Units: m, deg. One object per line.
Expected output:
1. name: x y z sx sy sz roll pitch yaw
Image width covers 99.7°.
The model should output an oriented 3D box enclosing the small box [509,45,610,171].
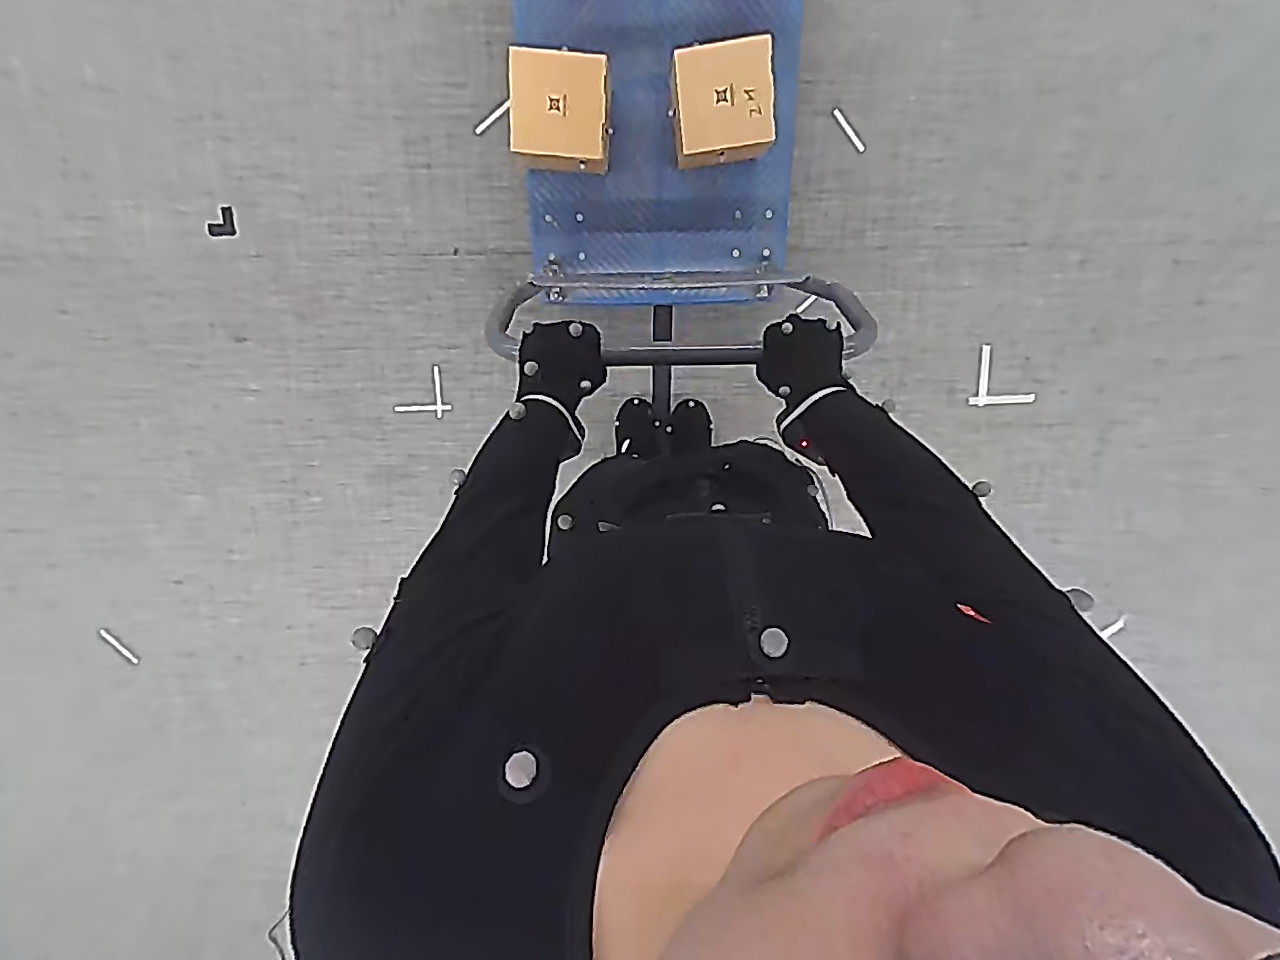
1. small box: -0.152 -0.717 1.061 0.179 0.176 0.168 3 111 -3

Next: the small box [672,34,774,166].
1. small box: 0.156 -0.727 1.055 0.179 0.176 0.168 -7 112 3
